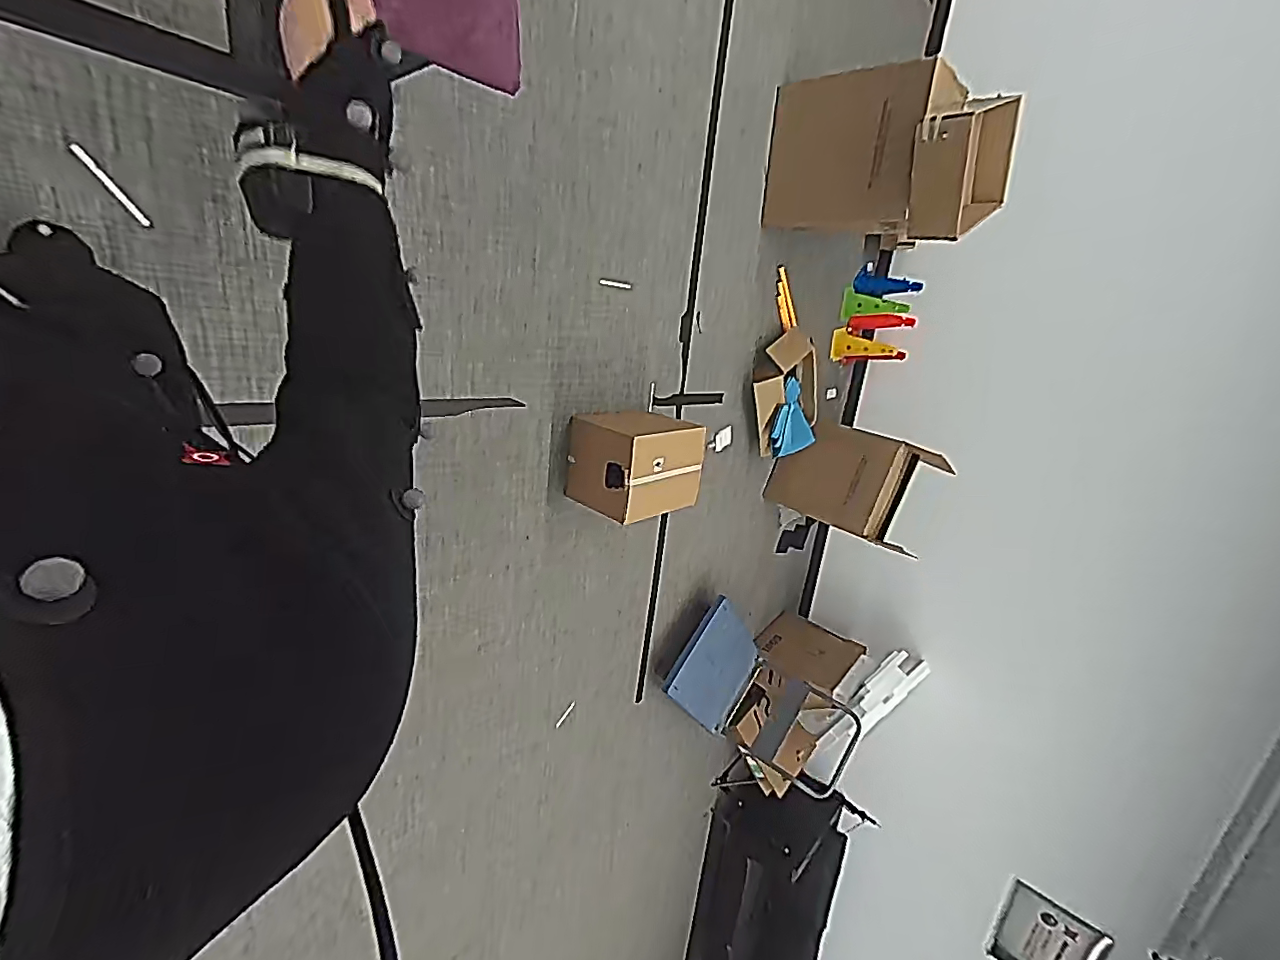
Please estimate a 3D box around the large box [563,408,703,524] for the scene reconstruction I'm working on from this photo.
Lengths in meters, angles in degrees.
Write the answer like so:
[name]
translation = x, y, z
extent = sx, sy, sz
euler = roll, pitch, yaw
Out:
[large box]
translation = -0.026, -0.072, 1.994
extent = 0.408, 0.320, 0.320
euler = -13, 116, -46
